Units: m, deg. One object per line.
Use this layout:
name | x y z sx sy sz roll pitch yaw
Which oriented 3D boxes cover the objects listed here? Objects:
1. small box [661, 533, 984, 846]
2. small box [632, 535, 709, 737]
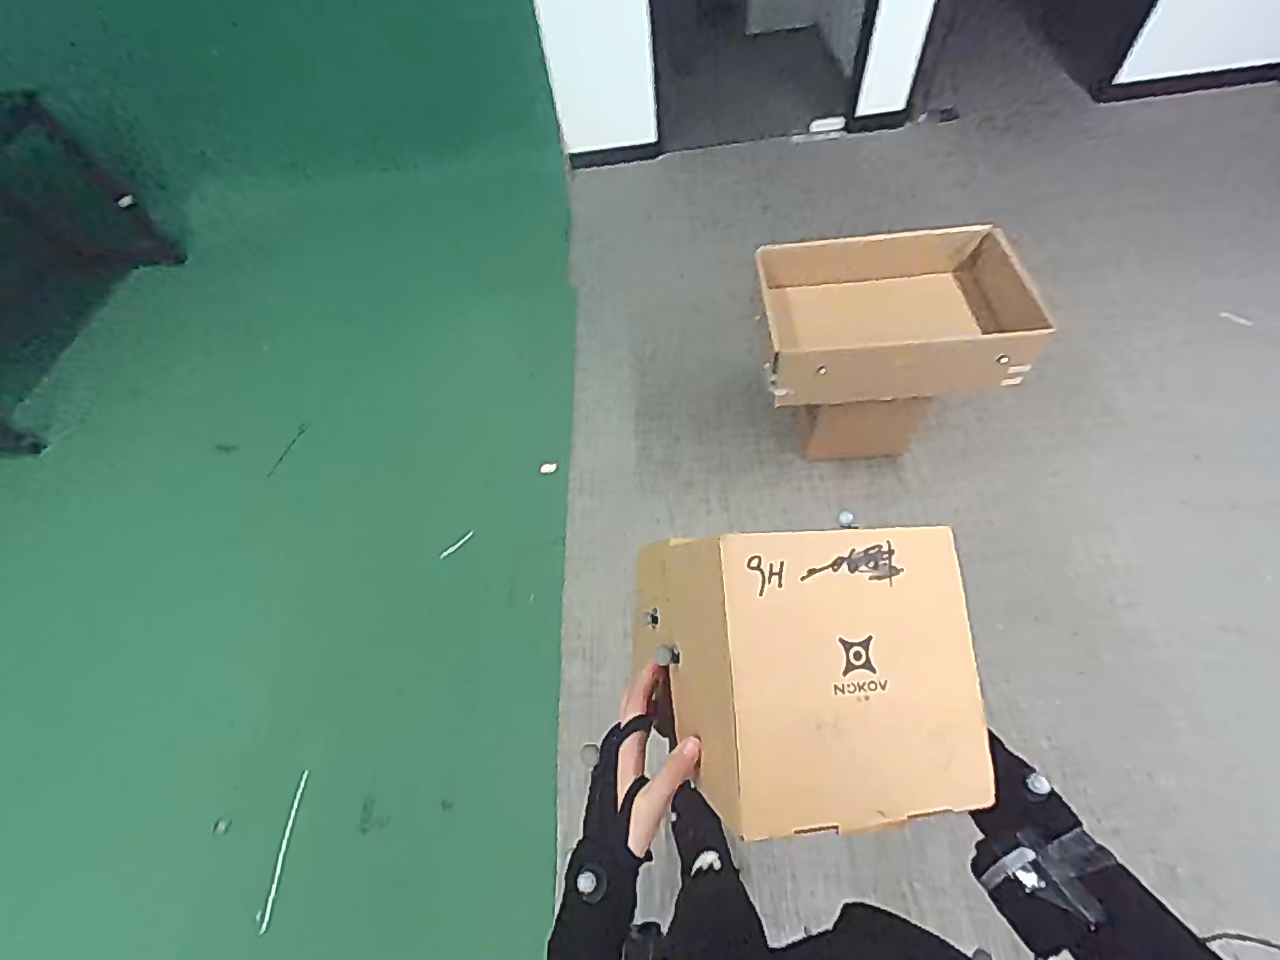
small box | 0.113 0.132 0.406 0.168 0.176 0.179 0 80 -11
small box | 0.087 0.159 0.566 0.168 0.176 0.179 6 78 -8
